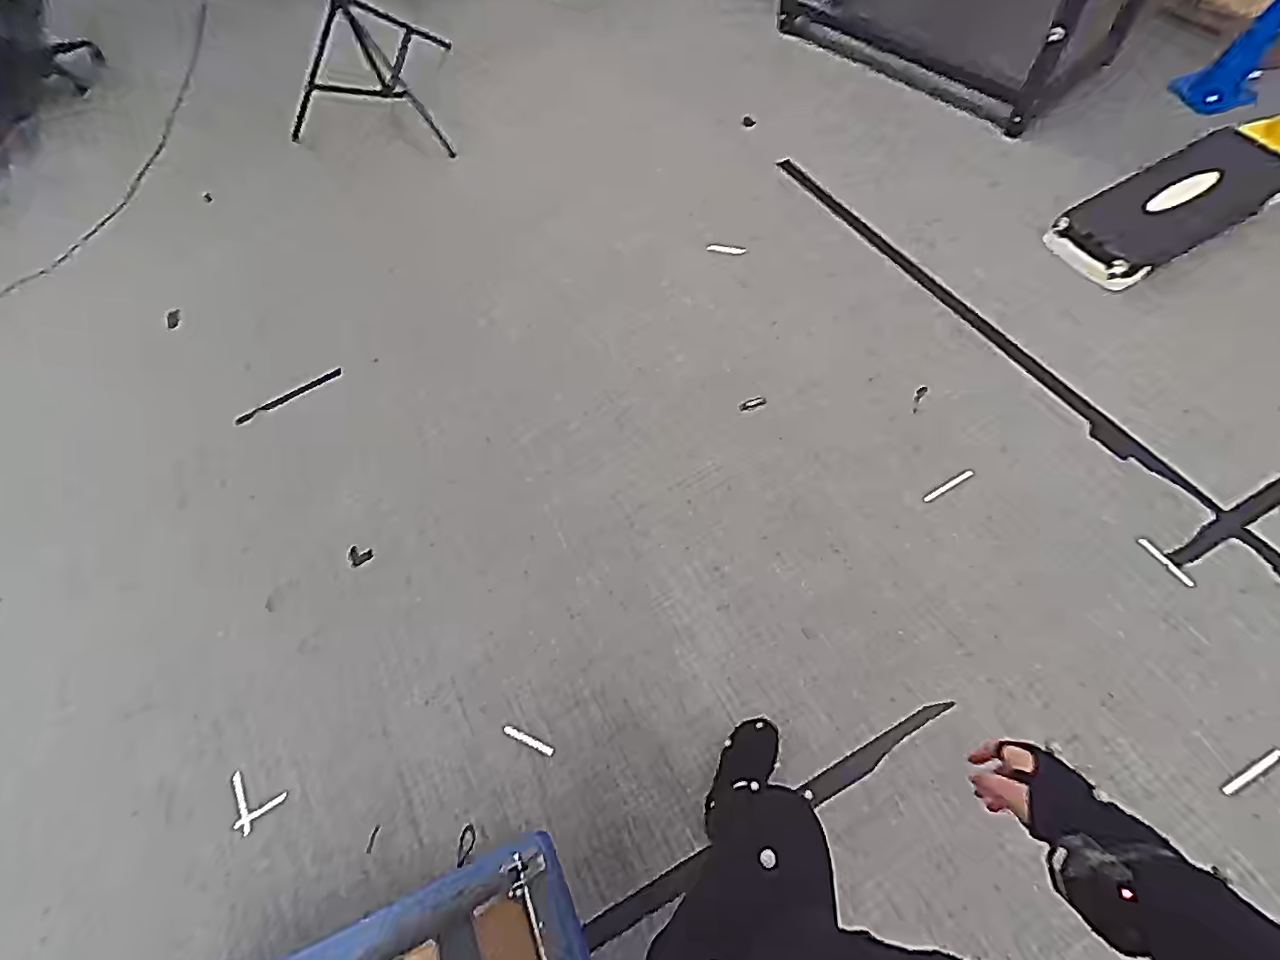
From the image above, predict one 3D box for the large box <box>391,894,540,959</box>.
[{"bbox_3d":[-0.309,0.968,0.834,0.320,0.320,0.408,-26,63,-4],"label":"large box"}]
